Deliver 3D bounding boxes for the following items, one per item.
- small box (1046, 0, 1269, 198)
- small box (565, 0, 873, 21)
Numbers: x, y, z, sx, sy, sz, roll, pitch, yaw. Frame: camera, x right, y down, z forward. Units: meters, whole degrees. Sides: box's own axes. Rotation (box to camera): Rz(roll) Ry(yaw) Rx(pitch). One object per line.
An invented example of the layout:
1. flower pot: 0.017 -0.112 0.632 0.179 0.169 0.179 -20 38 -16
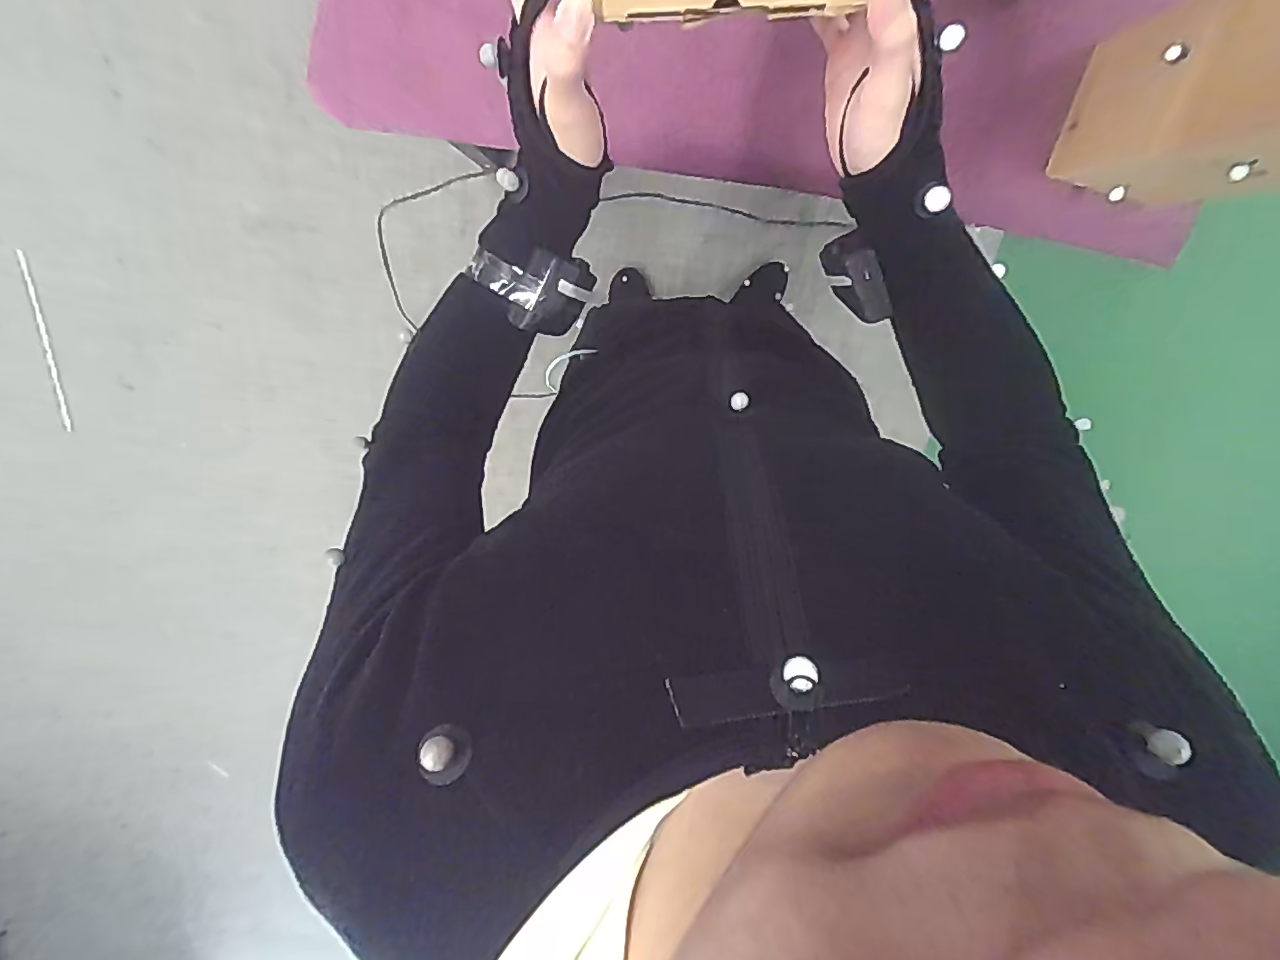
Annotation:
1. small box: 0.671 -0.463 0.671 0.179 0.176 0.168 10 110 -7
2. small box: 0.038 -0.360 0.278 0.168 0.176 0.179 -3 133 -1
